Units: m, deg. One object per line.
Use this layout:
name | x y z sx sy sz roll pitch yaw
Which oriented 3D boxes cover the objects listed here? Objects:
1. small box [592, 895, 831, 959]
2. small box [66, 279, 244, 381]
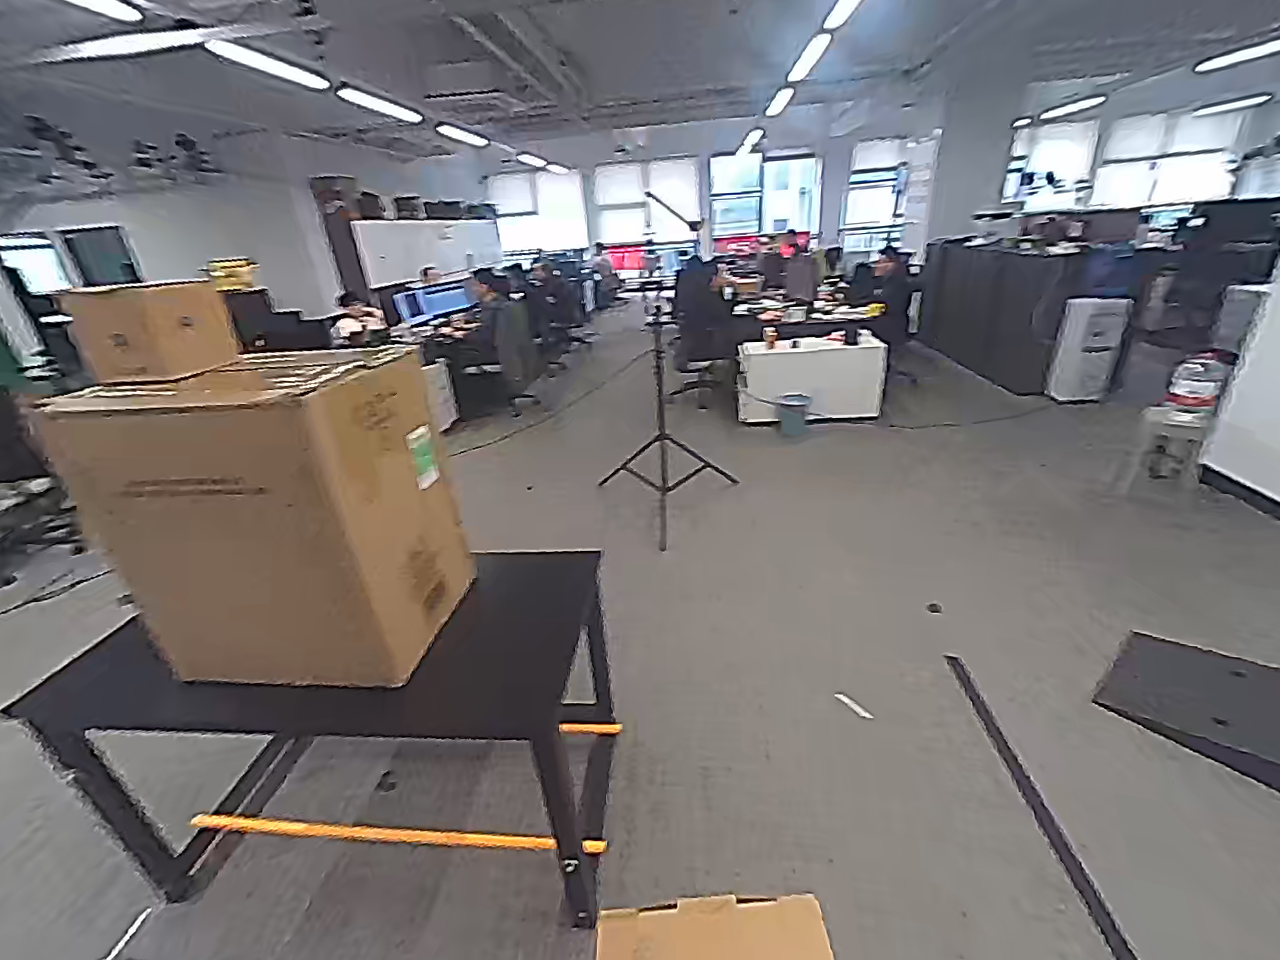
small box | 0.053 0.423 0.371 0.168 0.176 0.179 -4 37 -2
small box | -0.933 -0.294 1.064 0.168 0.176 0.179 -1 25 6
